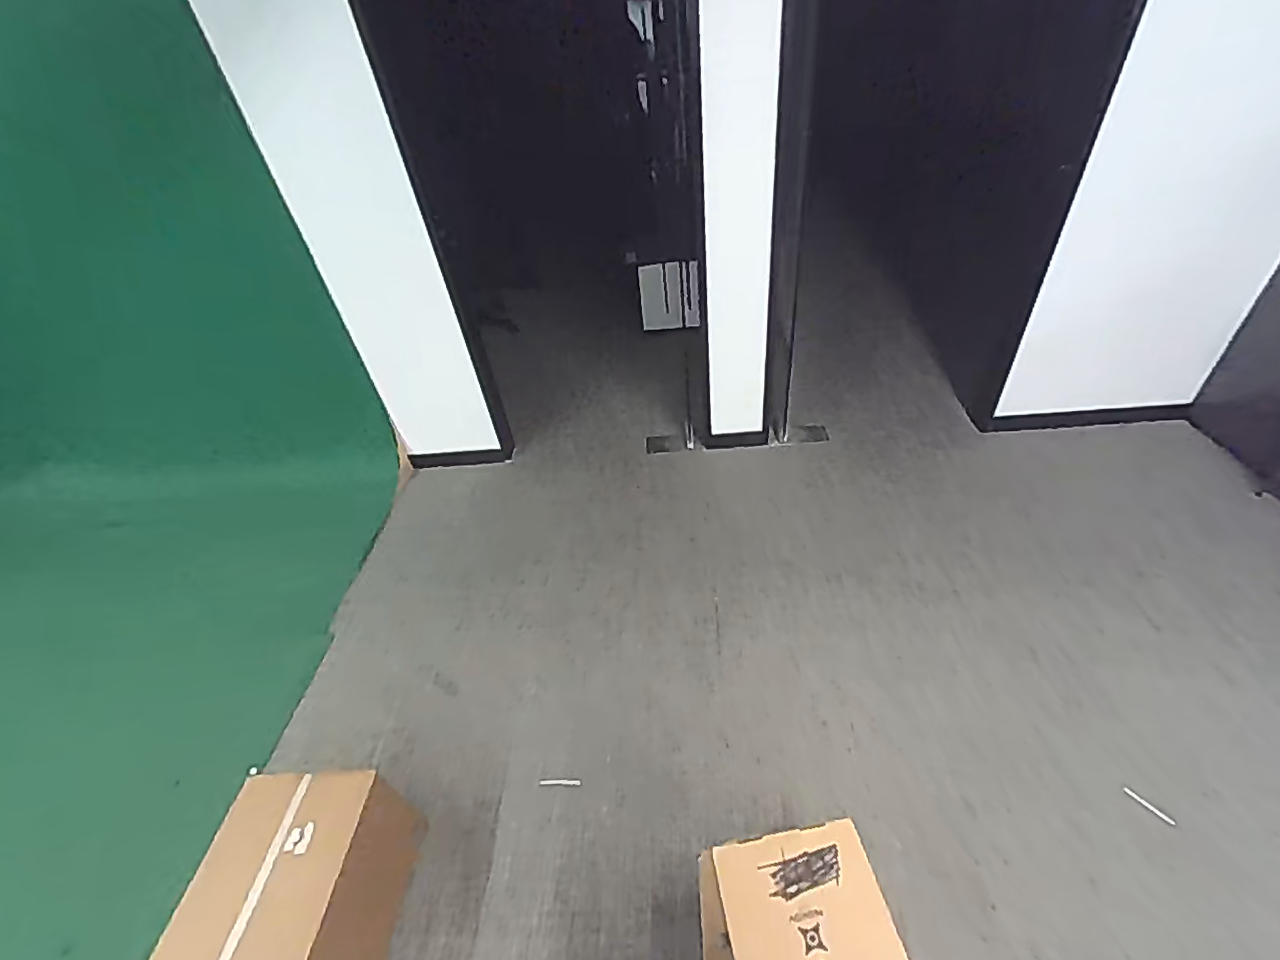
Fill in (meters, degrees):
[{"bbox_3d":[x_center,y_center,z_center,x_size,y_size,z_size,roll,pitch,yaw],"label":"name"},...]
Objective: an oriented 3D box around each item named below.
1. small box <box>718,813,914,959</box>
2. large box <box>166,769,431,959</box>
[{"bbox_3d":[0.189,0.510,0.604,0.168,0.176,0.179,-12,40,-1],"label":"small box"},{"bbox_3d":[-0.713,0.913,1.184,0.320,0.320,0.408,-5,39,5],"label":"large box"}]
